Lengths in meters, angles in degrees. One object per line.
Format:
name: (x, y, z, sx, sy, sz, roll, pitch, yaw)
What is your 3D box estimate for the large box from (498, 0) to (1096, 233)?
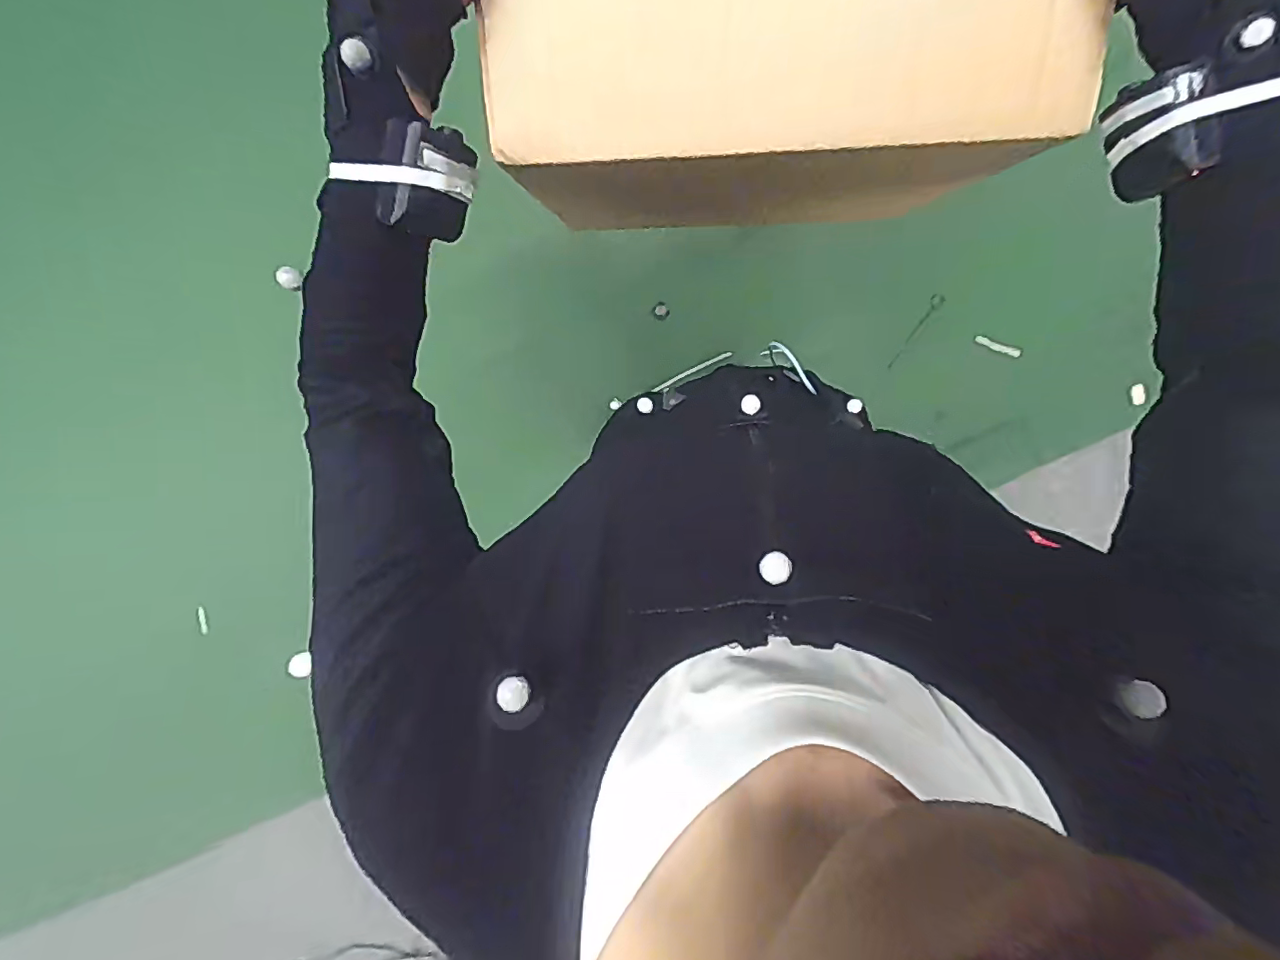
large box: (0.102, -0.421, 0.485, 0.408, 0.320, 0.320, -1, 107, 2)
